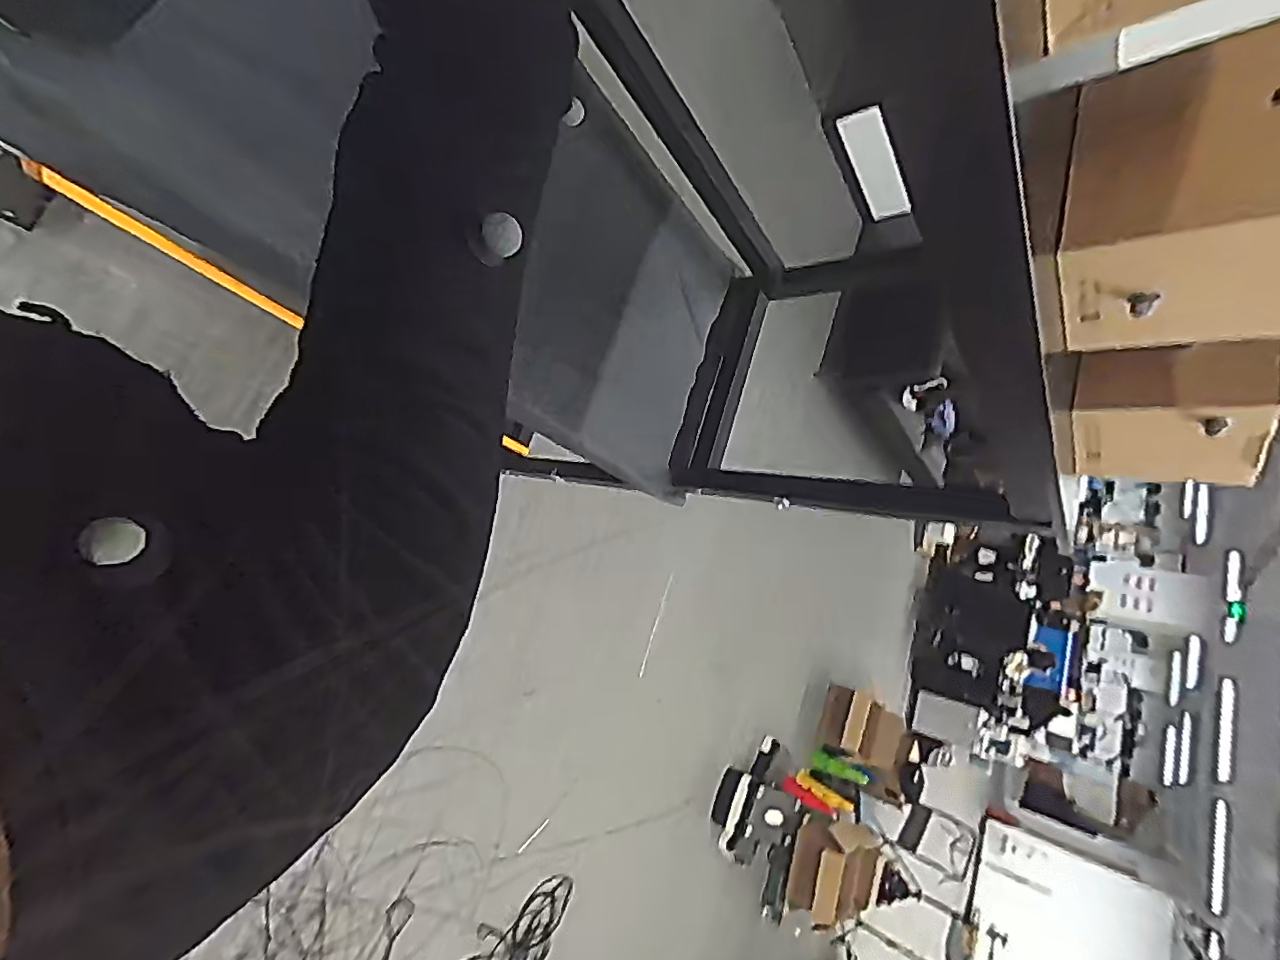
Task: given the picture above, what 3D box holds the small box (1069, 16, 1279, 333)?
[{"bbox_3d":[0.473,-0.244,0.451,0.168,0.176,0.179,27,75,-46],"label":"small box"}]
